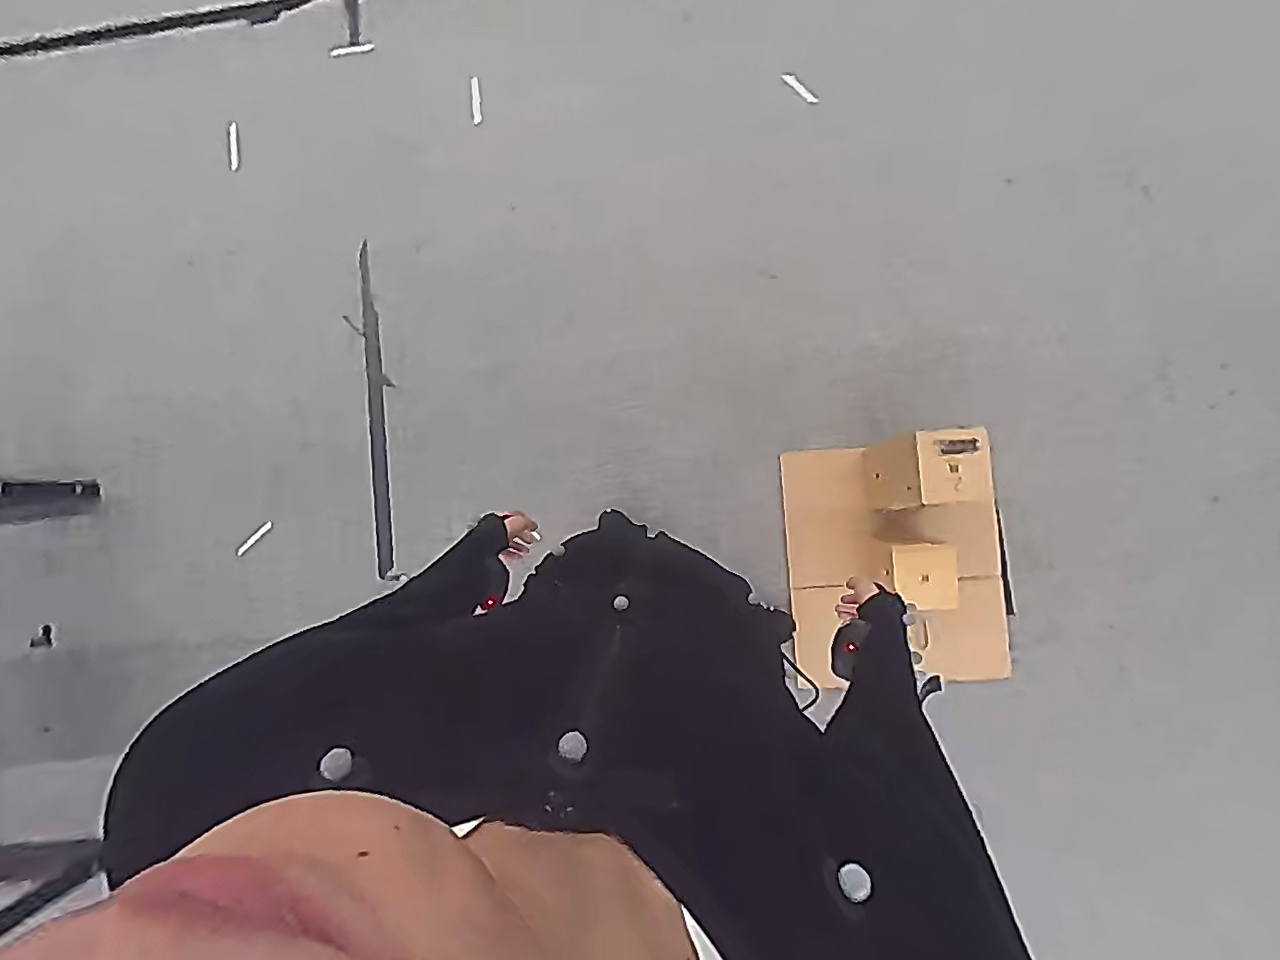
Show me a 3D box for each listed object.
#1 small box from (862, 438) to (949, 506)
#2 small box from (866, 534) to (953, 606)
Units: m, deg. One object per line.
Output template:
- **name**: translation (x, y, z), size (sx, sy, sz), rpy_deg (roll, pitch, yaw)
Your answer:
- **small box**: translation (0.738, -0.020, 1.517), size (0.168, 0.176, 0.179), rpy_deg (-4, 87, 2)
- **small box**: translation (0.746, 0.246, 1.509), size (0.168, 0.176, 0.179), rpy_deg (-2, 88, 3)
